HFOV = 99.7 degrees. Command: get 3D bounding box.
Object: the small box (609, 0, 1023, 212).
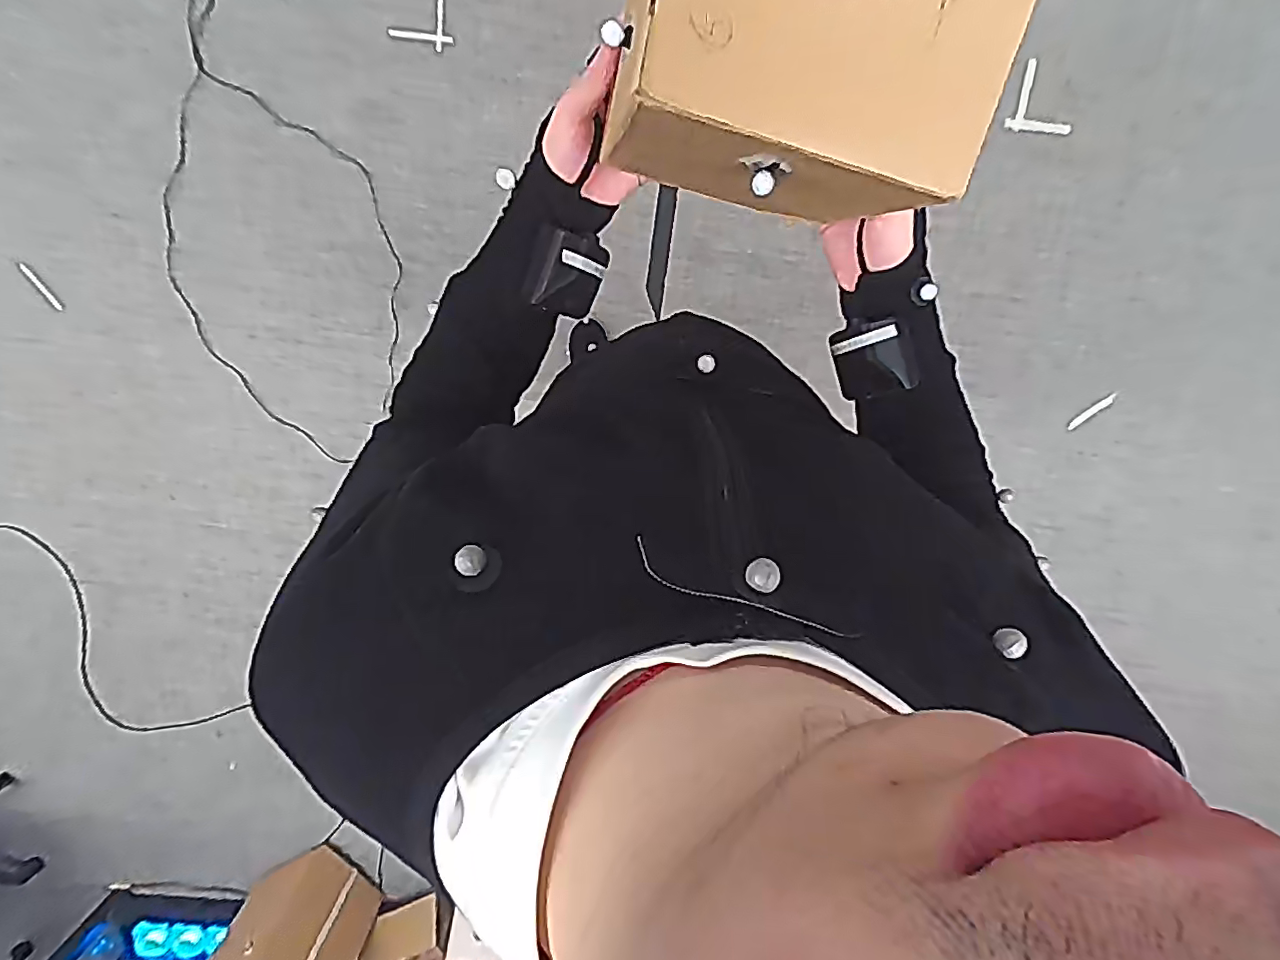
[{"bbox_3d":[0.086,-0.267,0.313,0.179,0.176,0.168,9,110,-14],"label":"small box"}]
